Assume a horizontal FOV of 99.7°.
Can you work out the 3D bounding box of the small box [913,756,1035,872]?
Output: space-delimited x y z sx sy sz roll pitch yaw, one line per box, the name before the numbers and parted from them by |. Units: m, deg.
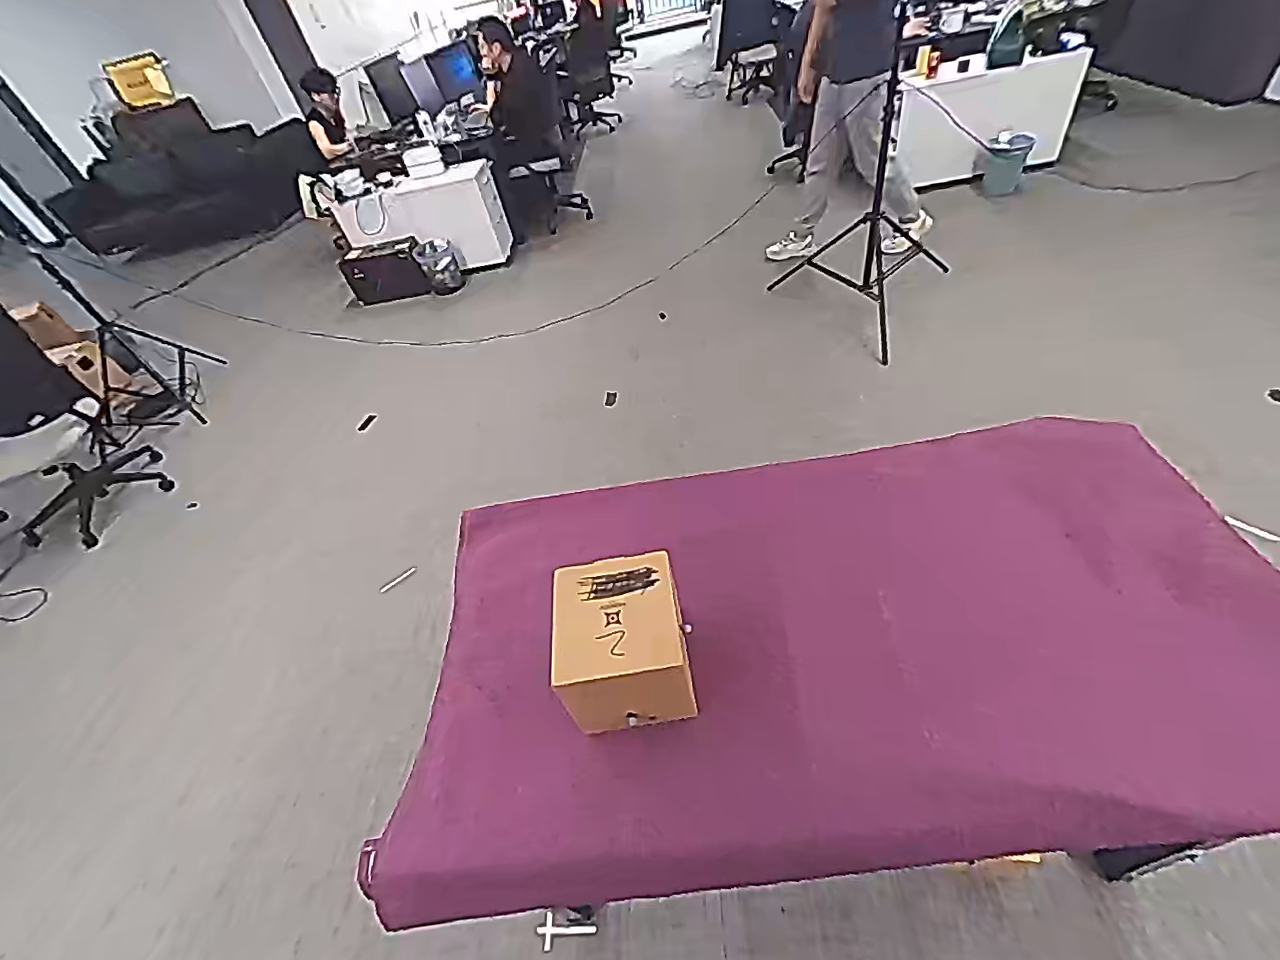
small box | 0.700 0.715 1.155 0.168 0.176 0.179 -2 45 13
